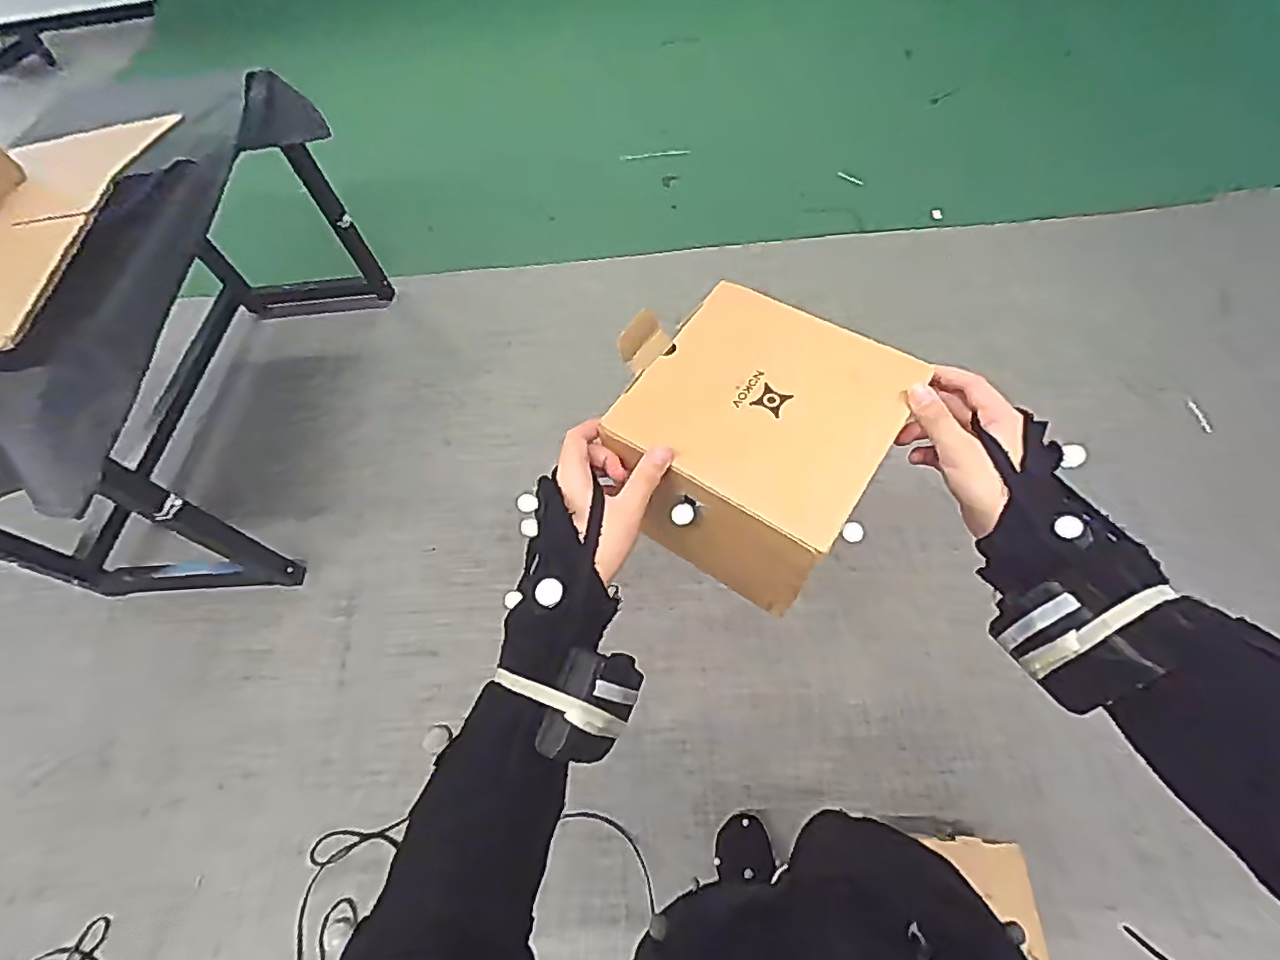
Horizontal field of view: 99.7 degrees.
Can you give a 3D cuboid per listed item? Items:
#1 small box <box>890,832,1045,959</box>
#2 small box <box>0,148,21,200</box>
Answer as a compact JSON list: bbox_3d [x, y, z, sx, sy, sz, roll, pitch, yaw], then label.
[{"bbox_3d":[0.561,0.730,0.954,0.168,0.176,0.179,0,59,6],"label":"small box"},{"bbox_3d":[-1.261,-0.556,0.937,0.168,0.176,0.179,-13,59,3],"label":"small box"}]
